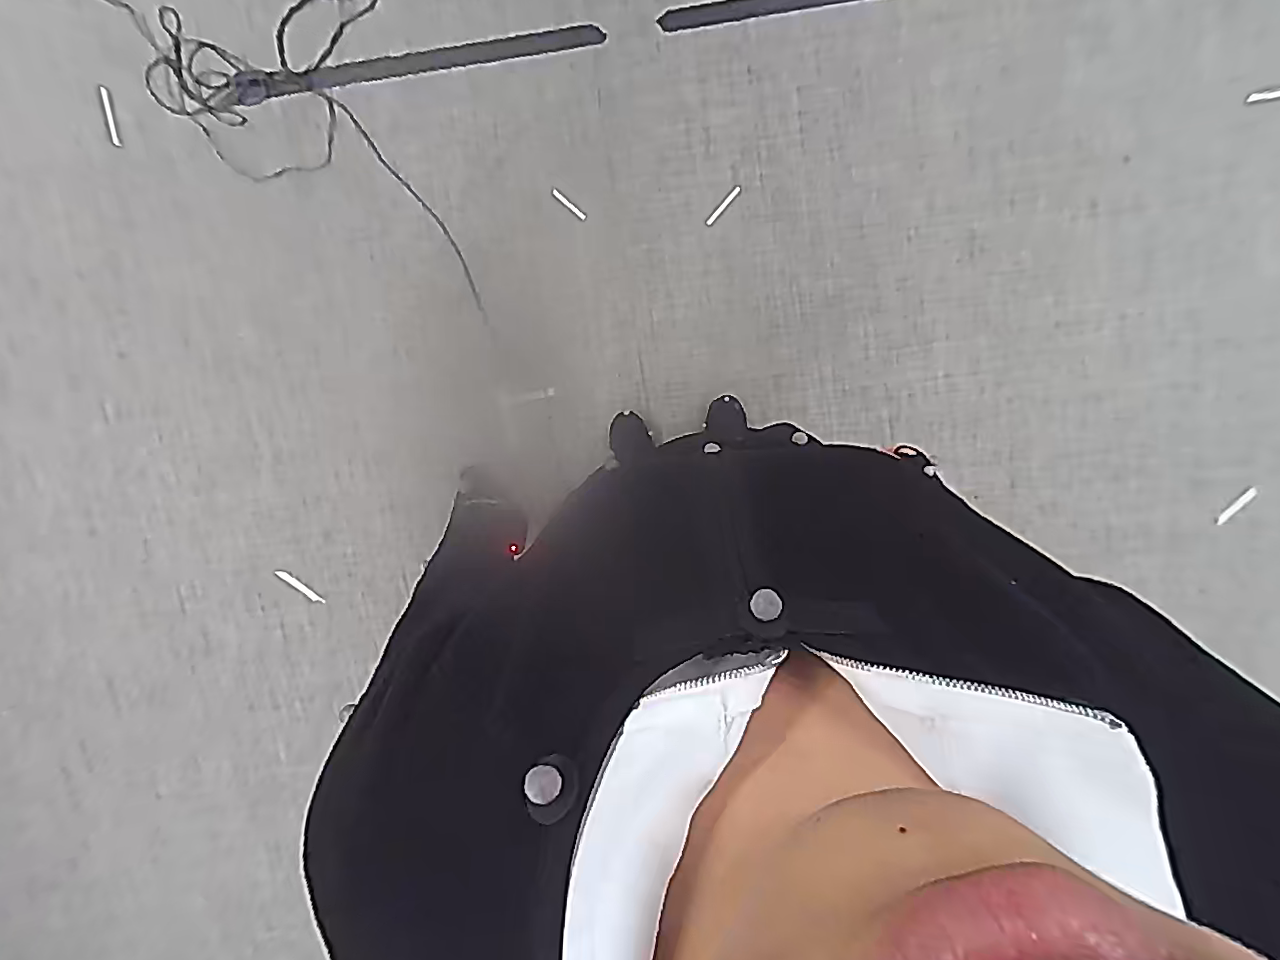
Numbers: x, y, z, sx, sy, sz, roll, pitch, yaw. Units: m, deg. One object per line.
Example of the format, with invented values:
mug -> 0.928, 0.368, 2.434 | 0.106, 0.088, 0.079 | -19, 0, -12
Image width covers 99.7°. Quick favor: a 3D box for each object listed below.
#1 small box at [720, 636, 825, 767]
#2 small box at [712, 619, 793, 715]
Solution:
small box -> 0.265, 0.446, 1.107 | 0.168, 0.176, 0.179 | -11, 97, 4
small box -> 0.267, 0.417, 1.269 | 0.168, 0.176, 0.179 | -10, 98, 3
